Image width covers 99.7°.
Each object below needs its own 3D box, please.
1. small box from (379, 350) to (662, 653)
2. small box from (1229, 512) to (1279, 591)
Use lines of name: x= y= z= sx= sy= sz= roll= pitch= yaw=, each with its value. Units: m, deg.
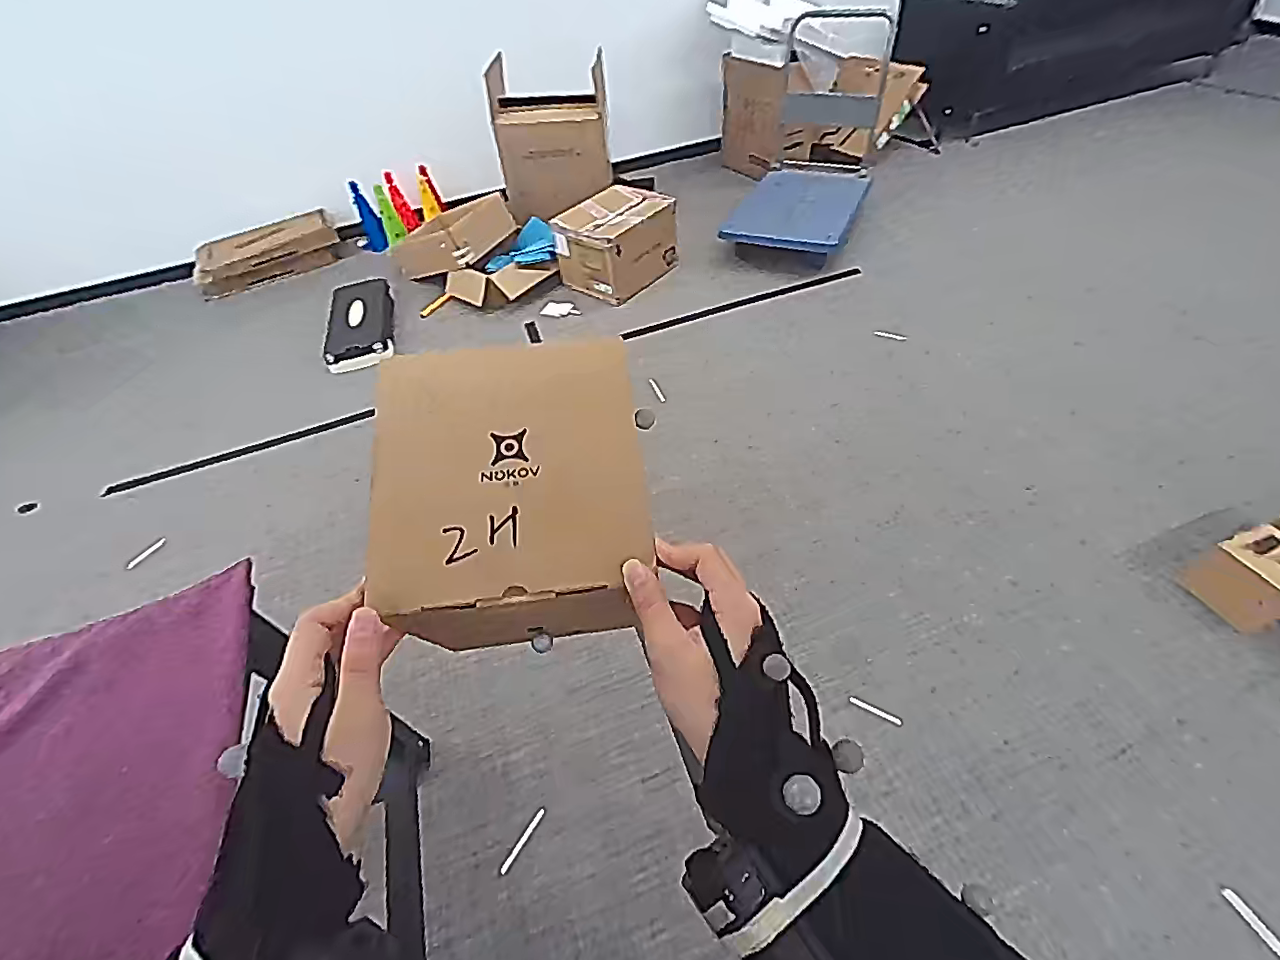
small box: x=-0.080 y=0.026 z=0.419 sx=0.168 sy=0.176 sz=0.179 roll=-6 pitch=66 yaw=-4
small box: x=1.708 y=0.179 z=1.383 sx=0.168 sy=0.176 sz=0.179 roll=-19 pitch=48 yaw=-9
